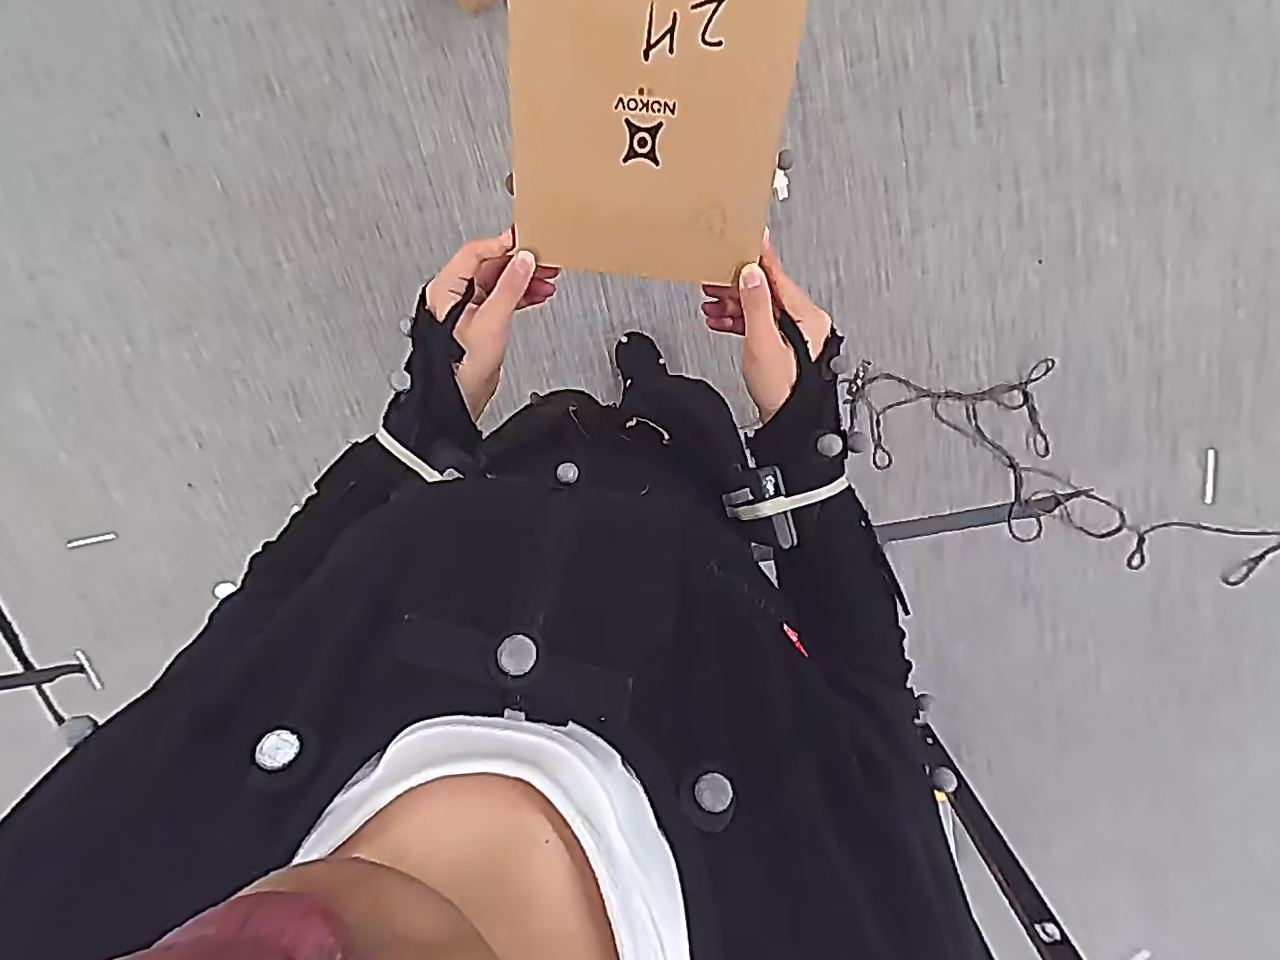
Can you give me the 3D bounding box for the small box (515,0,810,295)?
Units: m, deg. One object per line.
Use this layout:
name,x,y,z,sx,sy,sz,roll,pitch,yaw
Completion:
small box,0.013,-0.253,0.398,0.168,0.176,0.179,7,122,2
